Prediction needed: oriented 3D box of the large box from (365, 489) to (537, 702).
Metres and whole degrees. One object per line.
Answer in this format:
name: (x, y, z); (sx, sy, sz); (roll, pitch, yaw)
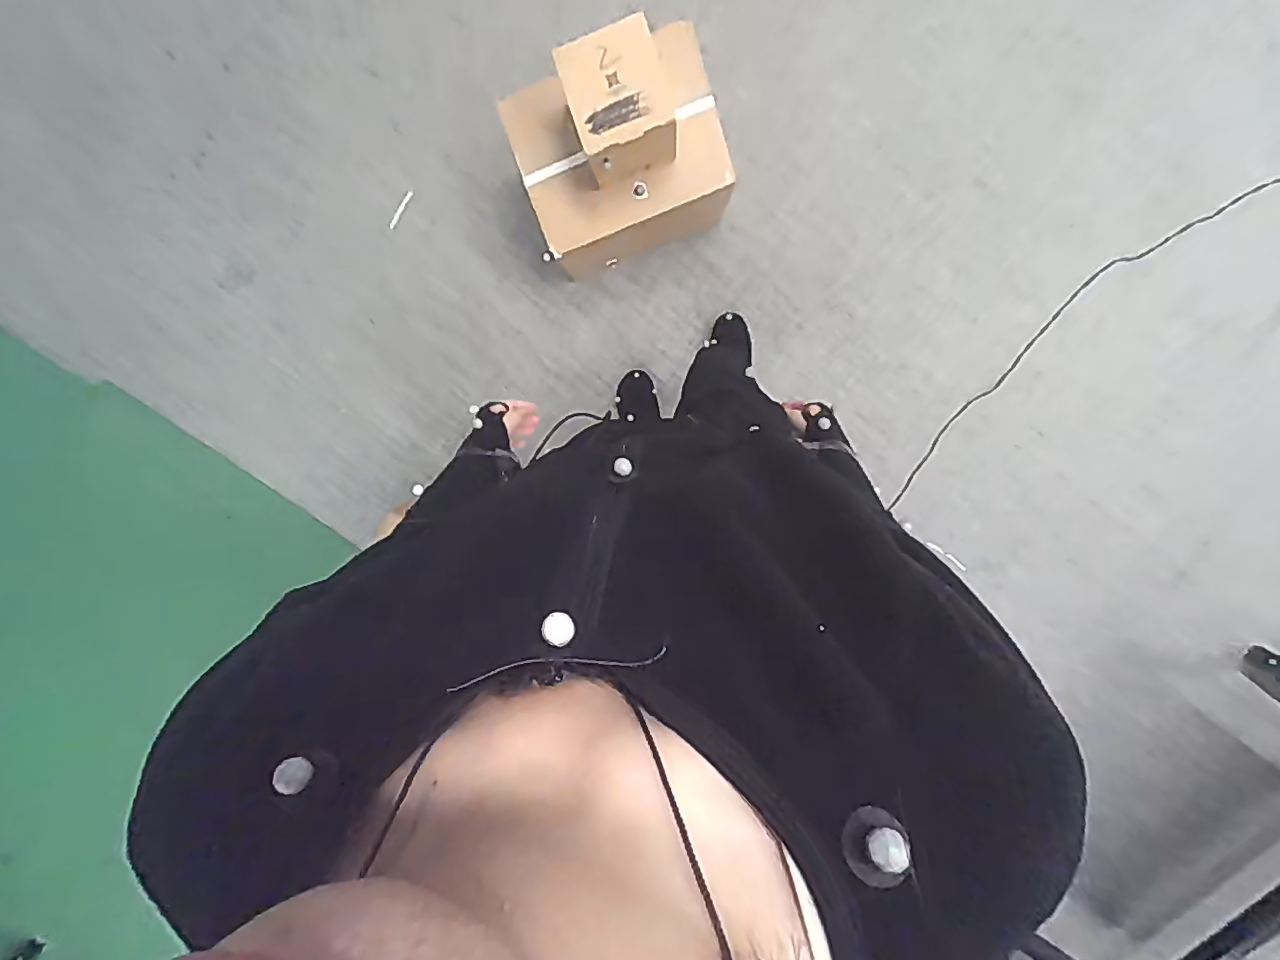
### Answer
large box: (-0.507, 0.284, 1.435); (0.320, 0.320, 0.408); (22, 102, 0)
